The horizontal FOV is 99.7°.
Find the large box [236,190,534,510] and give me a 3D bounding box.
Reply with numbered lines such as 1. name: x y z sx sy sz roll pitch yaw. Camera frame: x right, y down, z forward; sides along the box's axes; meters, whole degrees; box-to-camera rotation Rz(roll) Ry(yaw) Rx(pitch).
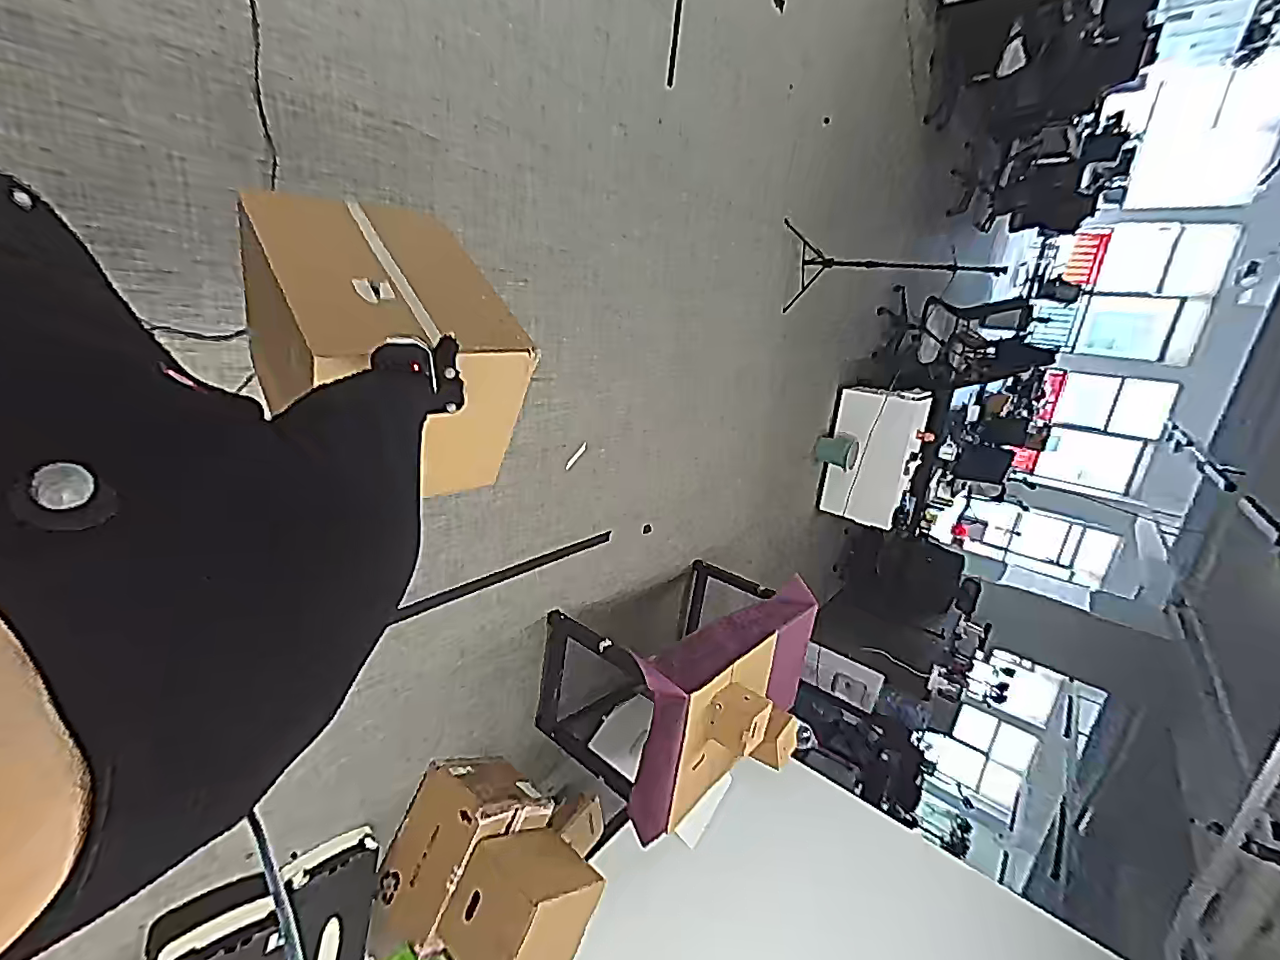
1. large box: -0.448 -0.218 0.926 0.320 0.408 0.320 -15 149 -41
